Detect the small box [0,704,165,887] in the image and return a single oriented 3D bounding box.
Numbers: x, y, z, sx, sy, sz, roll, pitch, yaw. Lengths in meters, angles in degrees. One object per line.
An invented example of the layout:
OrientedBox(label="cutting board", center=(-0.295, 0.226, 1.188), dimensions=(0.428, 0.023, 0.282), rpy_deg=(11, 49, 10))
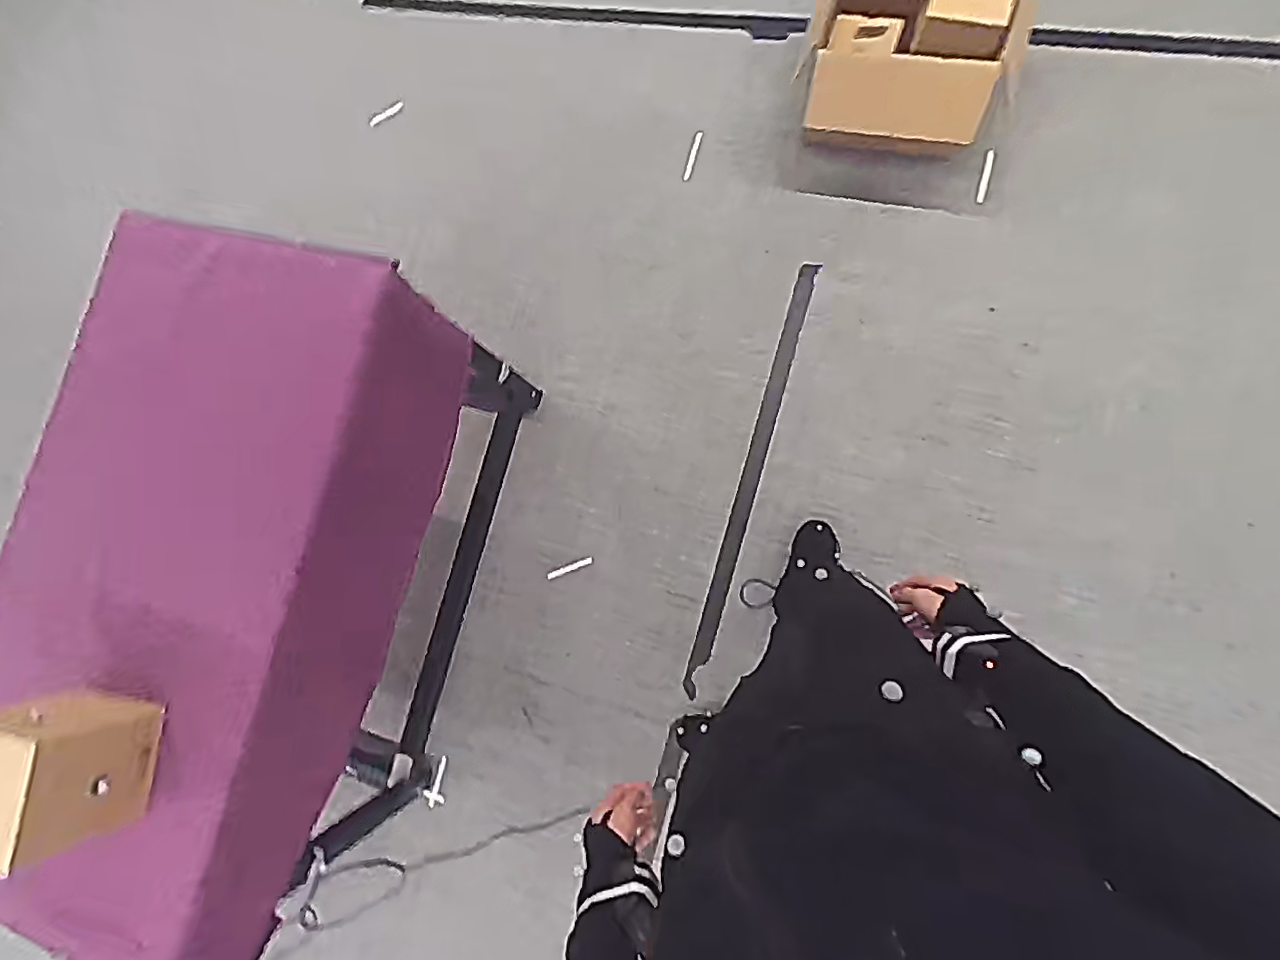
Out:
OrientedBox(label="small box", center=(-0.856, 0.441, 0.790), dimensions=(0.179, 0.176, 0.168), rpy_deg=(5, 83, 12))
